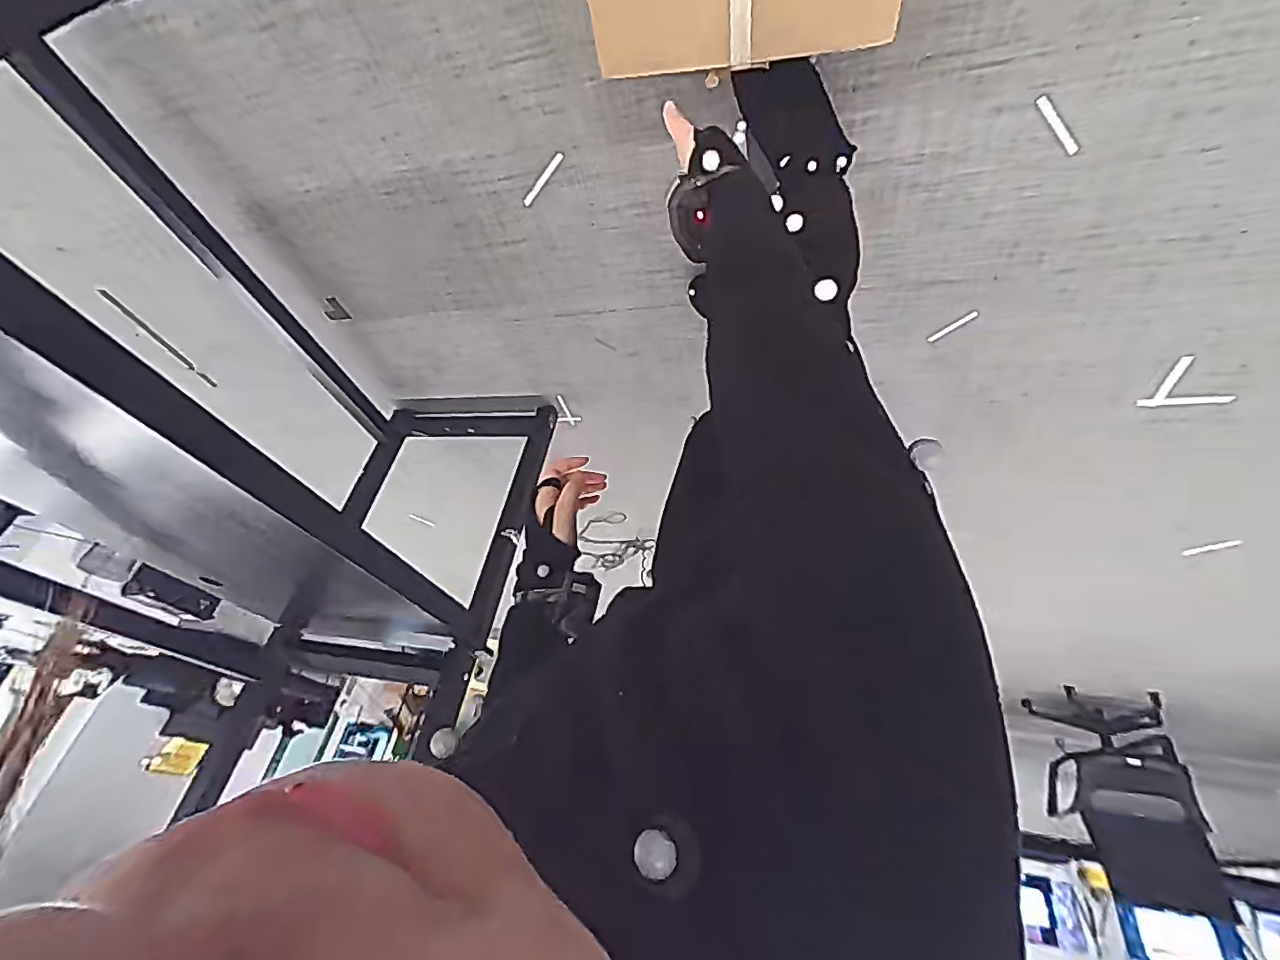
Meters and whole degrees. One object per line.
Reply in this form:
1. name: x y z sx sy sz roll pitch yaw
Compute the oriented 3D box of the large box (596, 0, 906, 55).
1. large box: 0.103 -0.697 0.484 0.320 0.320 0.408 3 147 13
